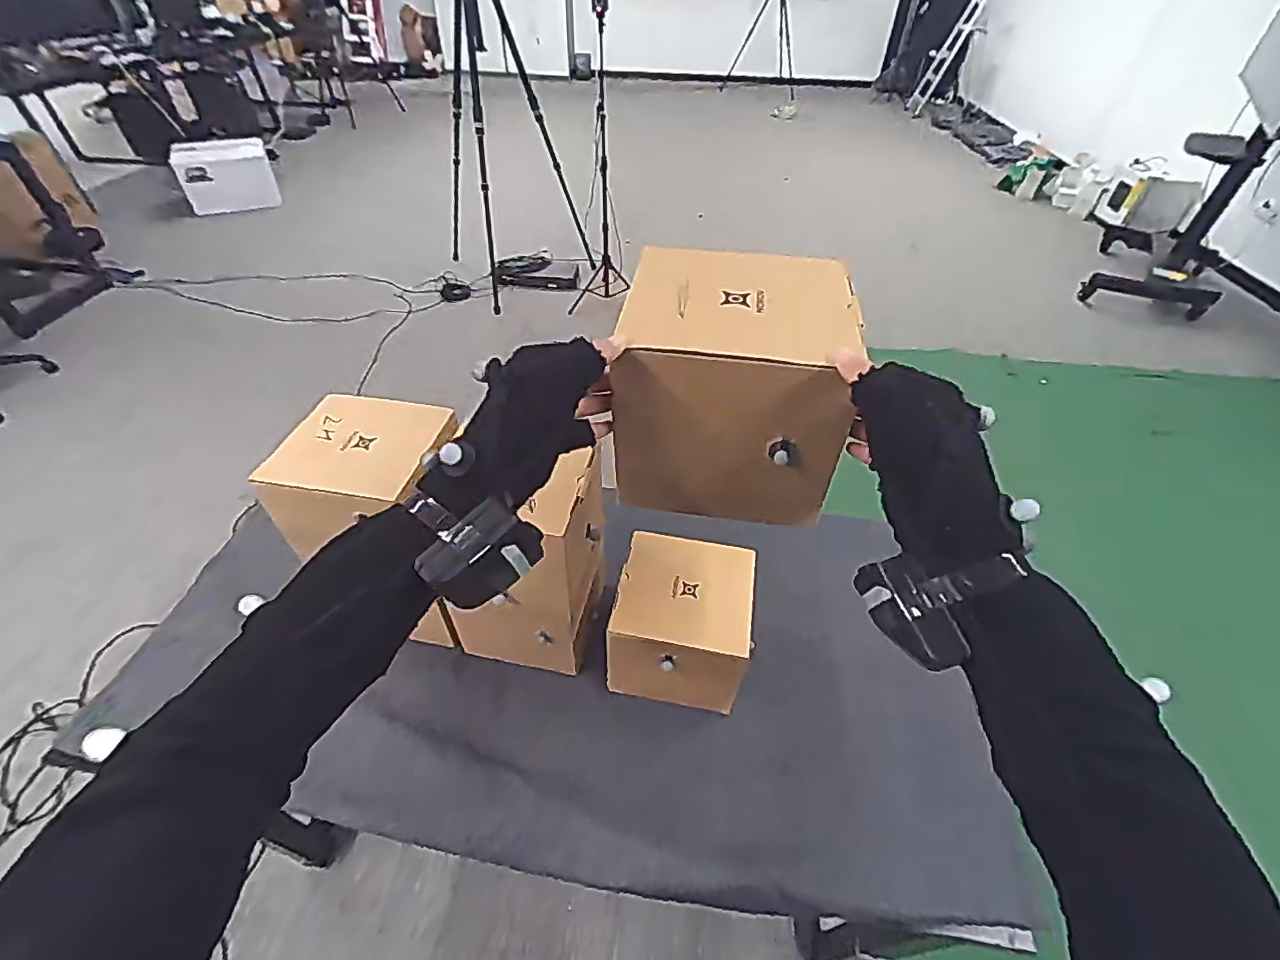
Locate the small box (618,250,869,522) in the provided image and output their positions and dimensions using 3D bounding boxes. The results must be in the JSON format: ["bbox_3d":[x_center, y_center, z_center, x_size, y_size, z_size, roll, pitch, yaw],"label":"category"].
[{"bbox_3d":[0.081,-0.081,0.483,0.179,0.176,0.168,7,46,6],"label":"small box"}]
